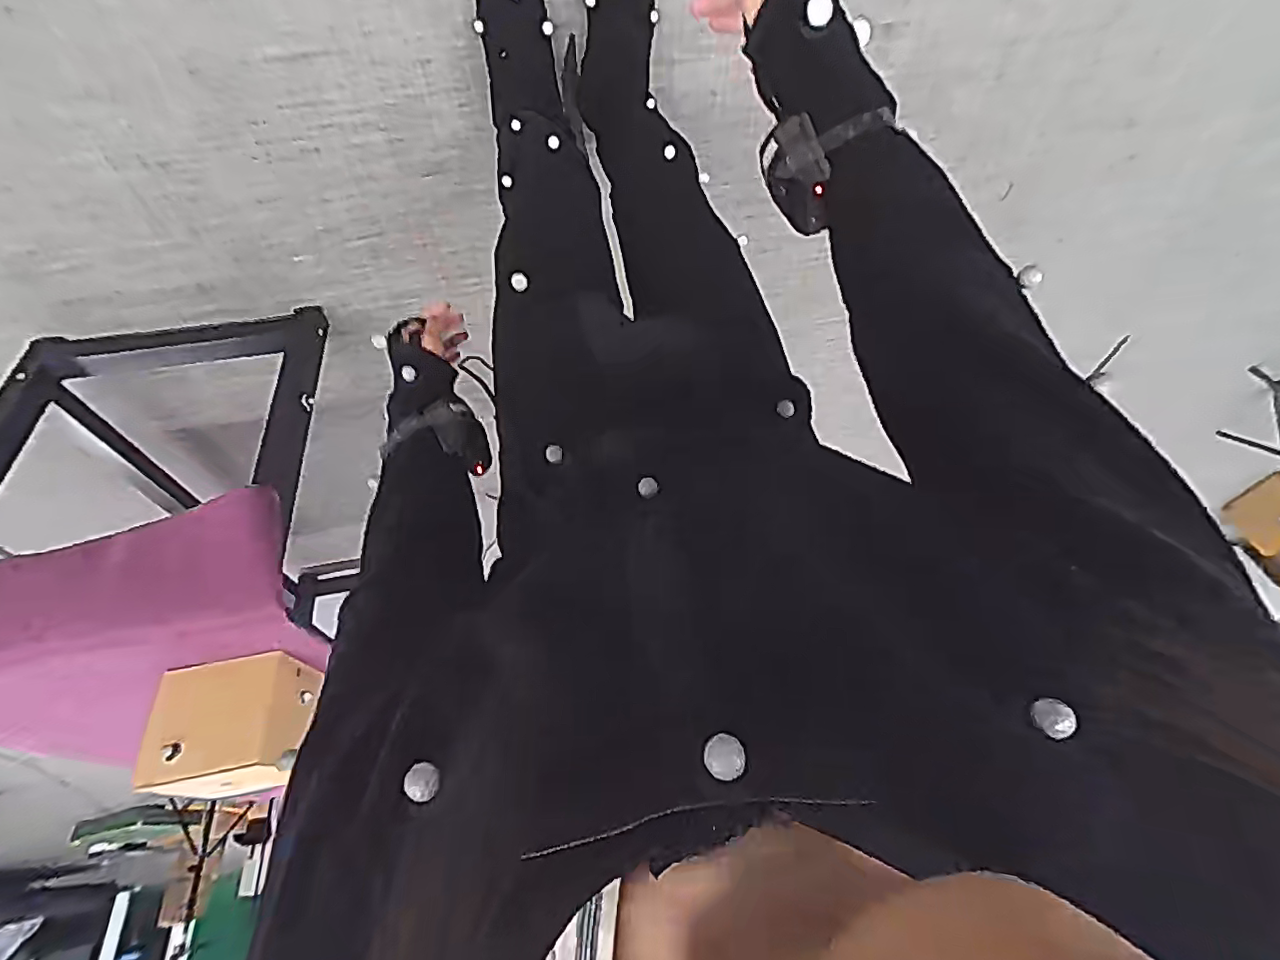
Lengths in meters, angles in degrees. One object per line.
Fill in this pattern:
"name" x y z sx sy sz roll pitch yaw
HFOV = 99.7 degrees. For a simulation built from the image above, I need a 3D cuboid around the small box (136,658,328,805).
"small box" -0.633 0.403 0.868 0.179 0.176 0.168 -10 147 -6
